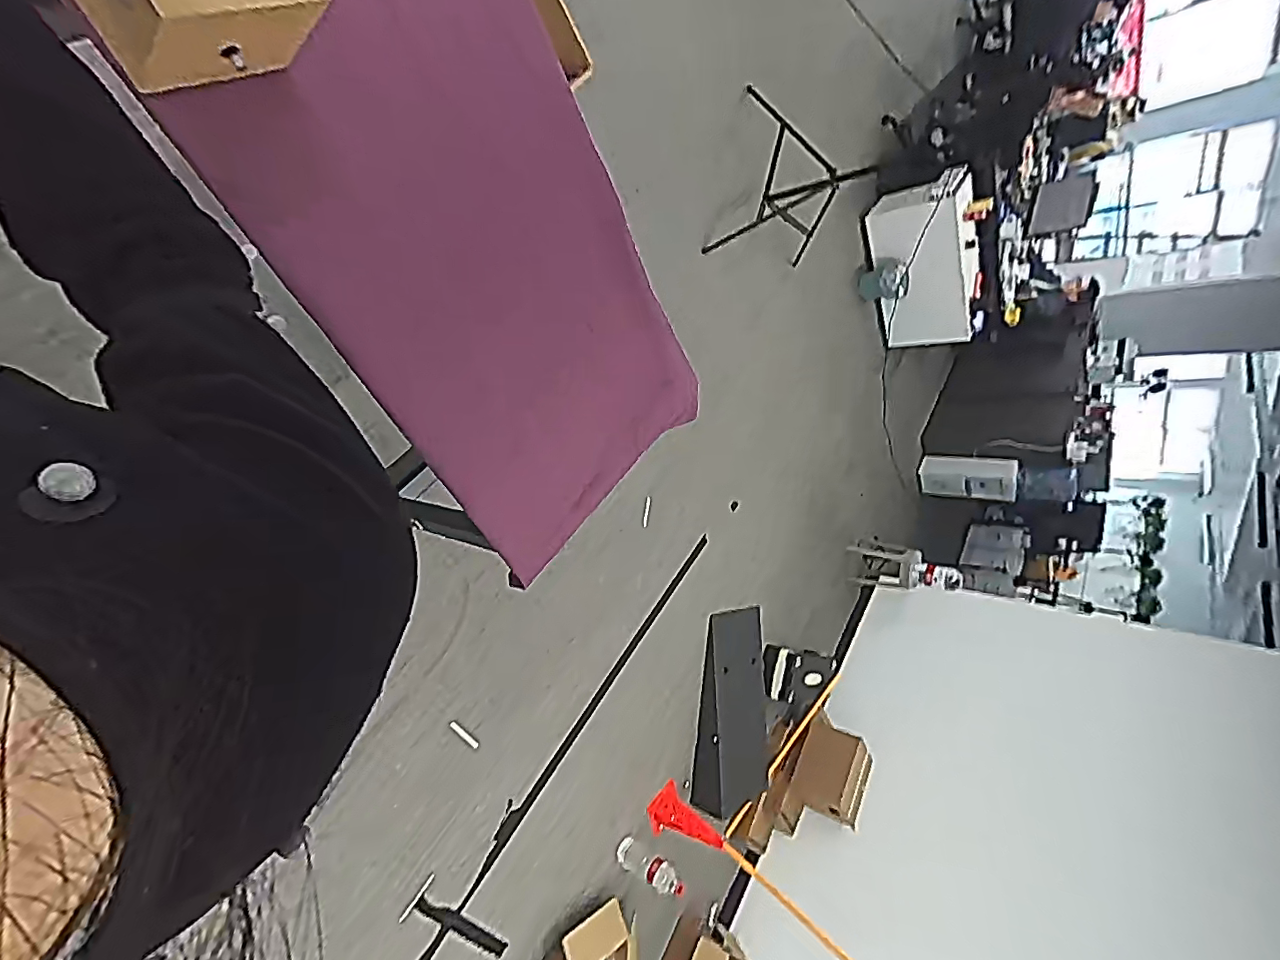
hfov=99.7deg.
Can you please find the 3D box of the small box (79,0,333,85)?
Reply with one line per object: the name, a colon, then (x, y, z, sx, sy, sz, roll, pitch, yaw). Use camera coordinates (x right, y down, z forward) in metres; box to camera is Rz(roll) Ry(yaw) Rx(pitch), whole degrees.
small box: (-0.447, -0.515, 0.522, 0.168, 0.176, 0.179, -46, 126, -34)
